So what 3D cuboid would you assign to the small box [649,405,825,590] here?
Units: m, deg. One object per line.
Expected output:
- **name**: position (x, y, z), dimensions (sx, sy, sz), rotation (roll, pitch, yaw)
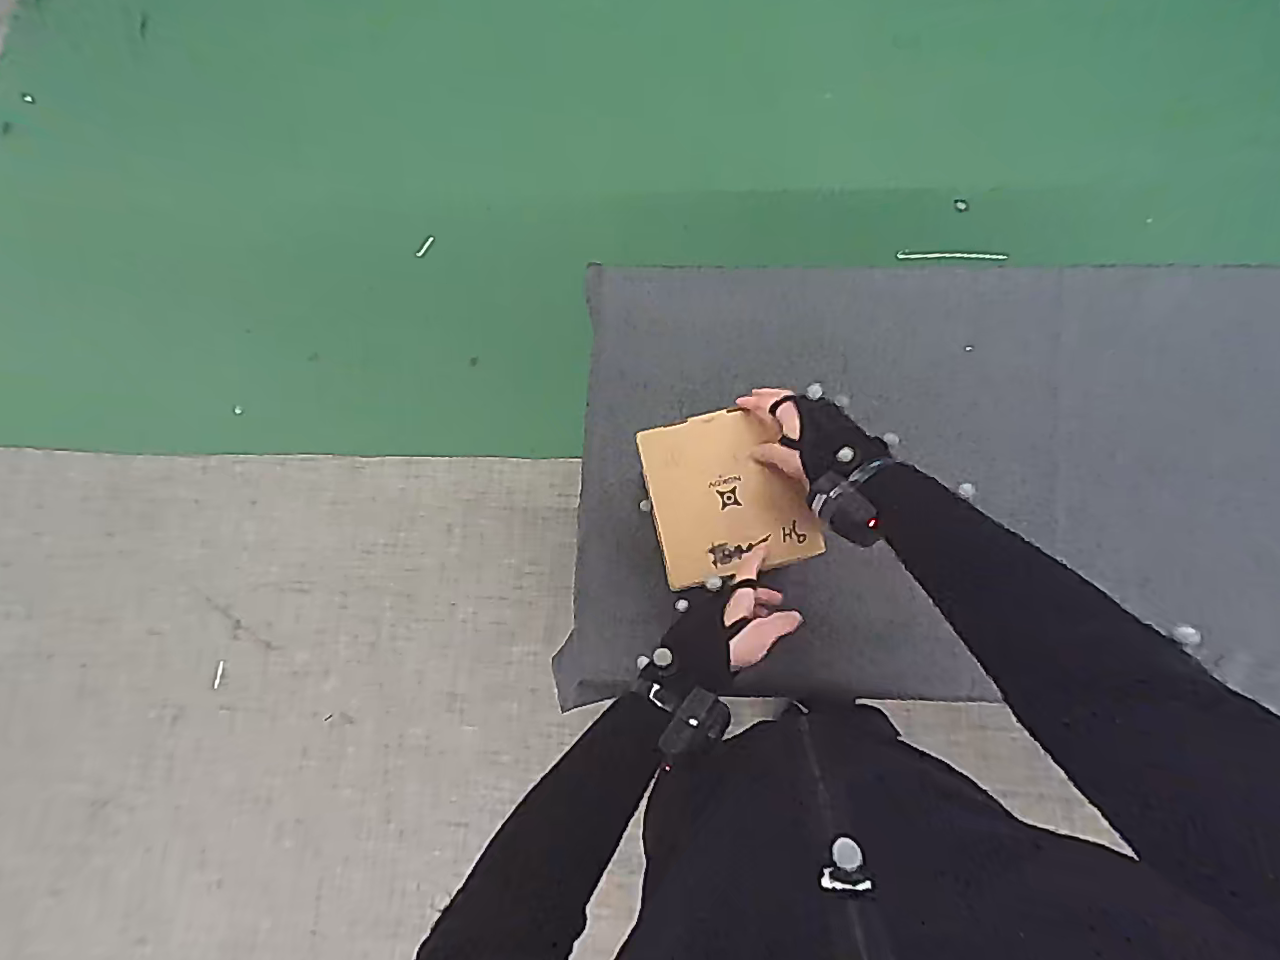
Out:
- **small box**: position (0.104, 0.031, 0.662), dimensions (0.168, 0.176, 0.179), rotation (-10, 75, 0)
